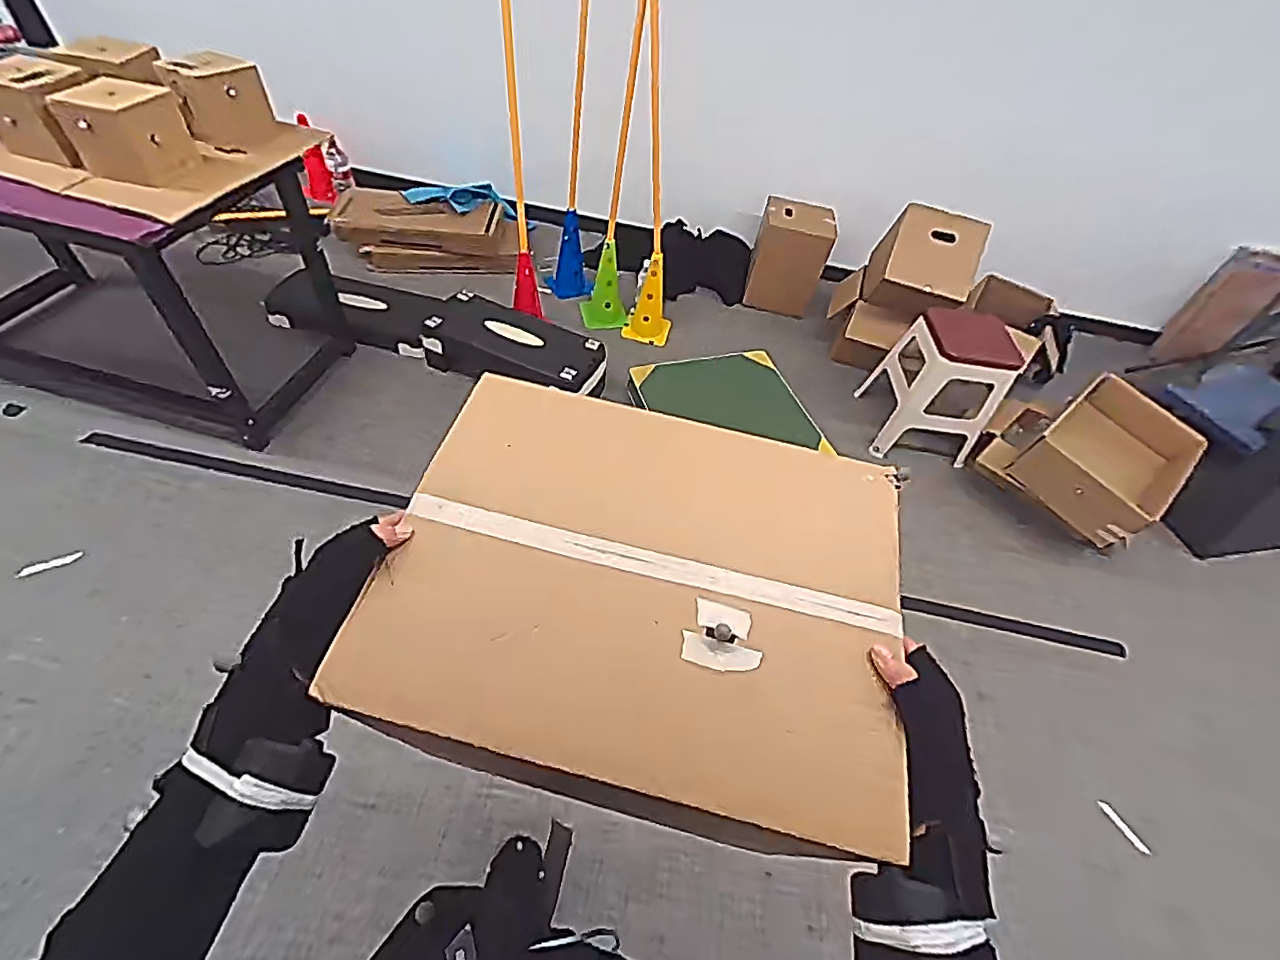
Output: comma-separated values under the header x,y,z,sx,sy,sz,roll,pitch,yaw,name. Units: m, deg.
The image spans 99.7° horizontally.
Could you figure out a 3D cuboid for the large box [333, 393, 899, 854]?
x,y,z,sx,sy,sz,roll,pitch,yaw,name
-0.004,0.159,0.568,0.408,0.320,0.320,14,58,3,large box
